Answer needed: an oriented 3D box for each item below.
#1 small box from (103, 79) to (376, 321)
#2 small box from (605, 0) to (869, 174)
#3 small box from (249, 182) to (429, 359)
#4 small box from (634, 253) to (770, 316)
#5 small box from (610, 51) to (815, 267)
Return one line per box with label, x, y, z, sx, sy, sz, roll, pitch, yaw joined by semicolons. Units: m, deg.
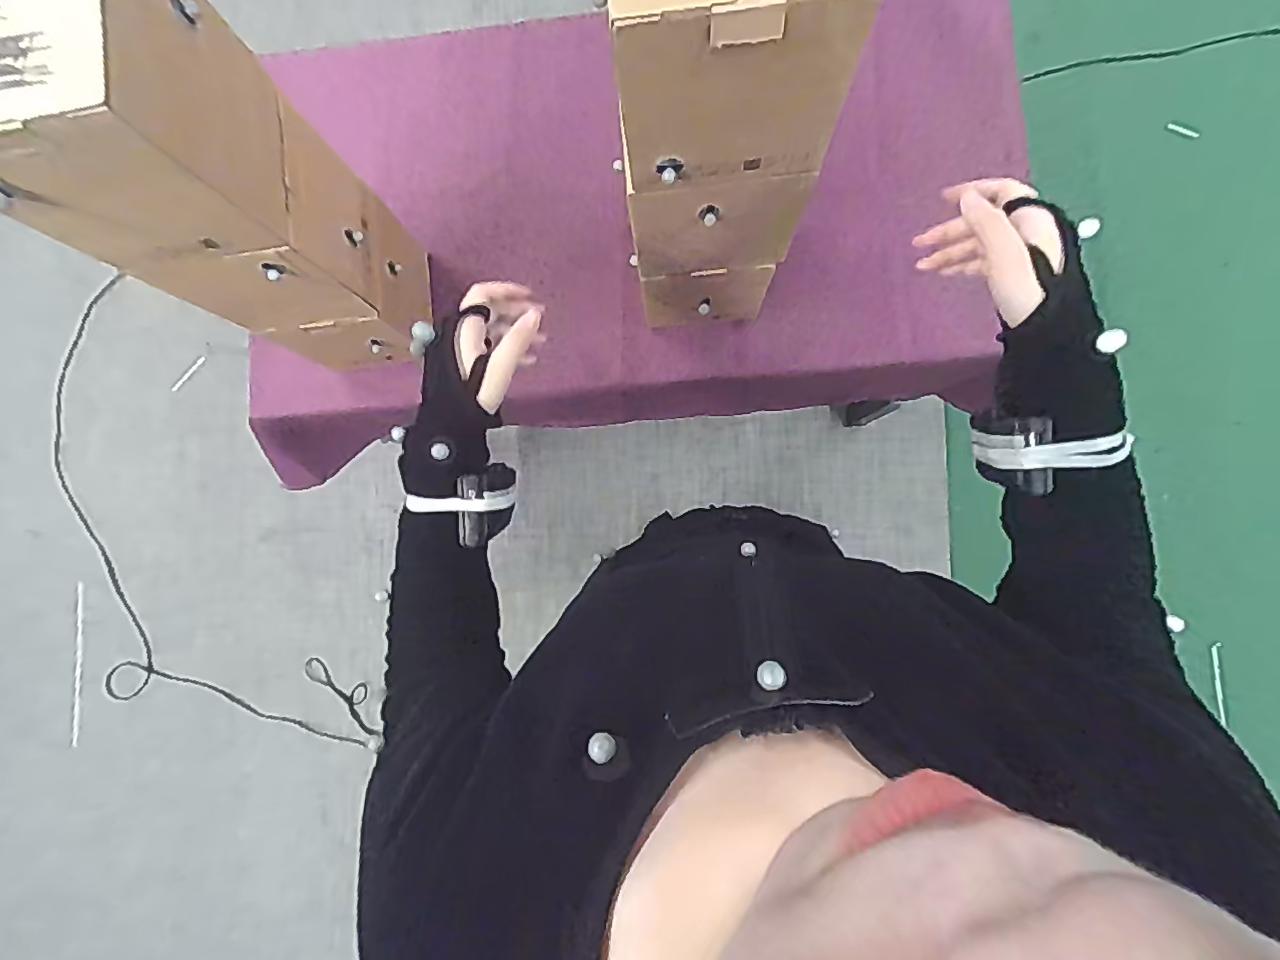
small box;-0.423;-0.289;0.595;0.179;0.176;0.168;-8;86;1
small box;0.061;-0.358;0.405;0.168;0.176;0.179;-5;85;3
small box;-0.410;-0.277;0.757;0.168;0.176;0.179;-6;85;2
small box;0.076;-0.333;0.733;0.168;0.176;0.179;-4;87;3
small box;0.070;-0.342;0.568;0.179;0.176;0.168;-5;86;3
